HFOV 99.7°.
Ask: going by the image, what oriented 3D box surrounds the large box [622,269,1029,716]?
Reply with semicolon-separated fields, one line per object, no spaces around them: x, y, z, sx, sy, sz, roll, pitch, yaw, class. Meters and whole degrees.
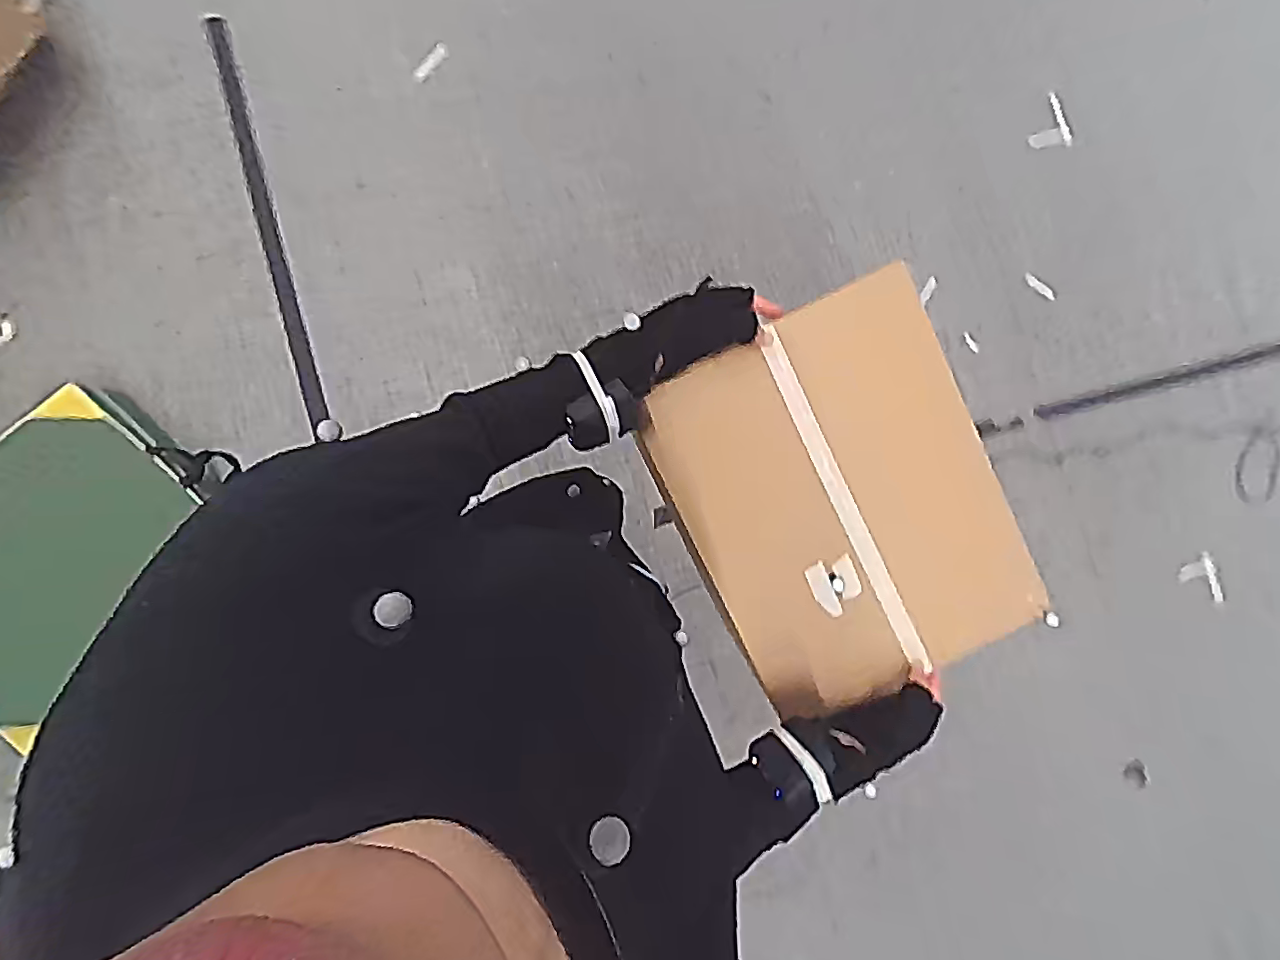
0.200;0.007;0.724;0.320;0.320;0.408;-26;96;1;large box
